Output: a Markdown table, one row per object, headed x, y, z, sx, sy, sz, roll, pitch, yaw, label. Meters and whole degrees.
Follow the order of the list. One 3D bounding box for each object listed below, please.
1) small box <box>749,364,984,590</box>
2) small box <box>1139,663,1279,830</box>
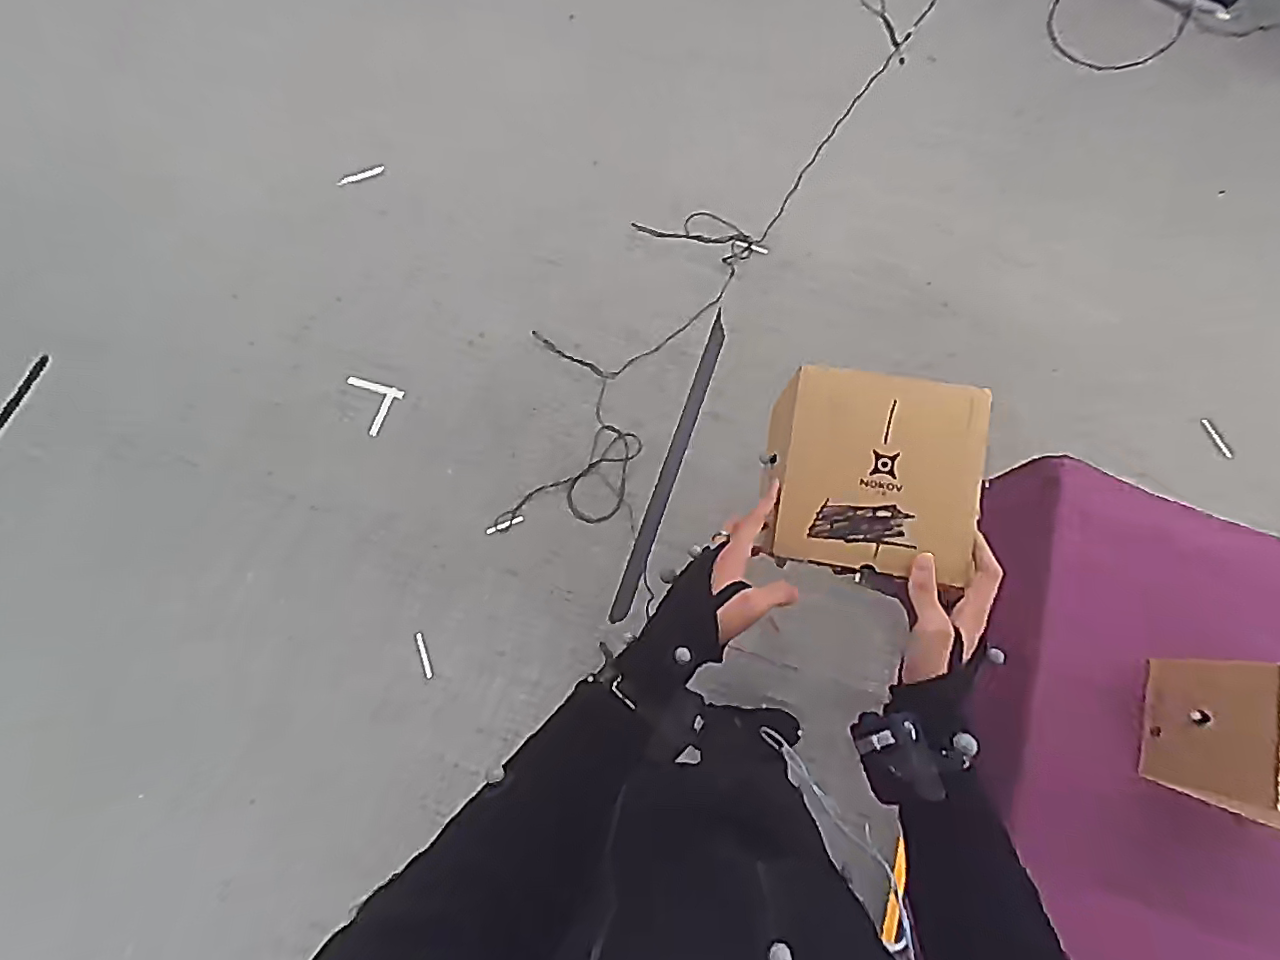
| x | y | z | sx | sy | sz | roll | pitch | yaw | label |
| --- | --- | --- | --- | --- | --- | --- | --- | --- | --- |
| 0.208 | 0.001 | 0.546 | 0.168 | 0.176 | 0.179 | 9 | 86 | 6 | small box |
| 0.793 | 0.342 | 0.683 | 0.179 | 0.176 | 0.168 | 22 | 75 | 3 | small box |
